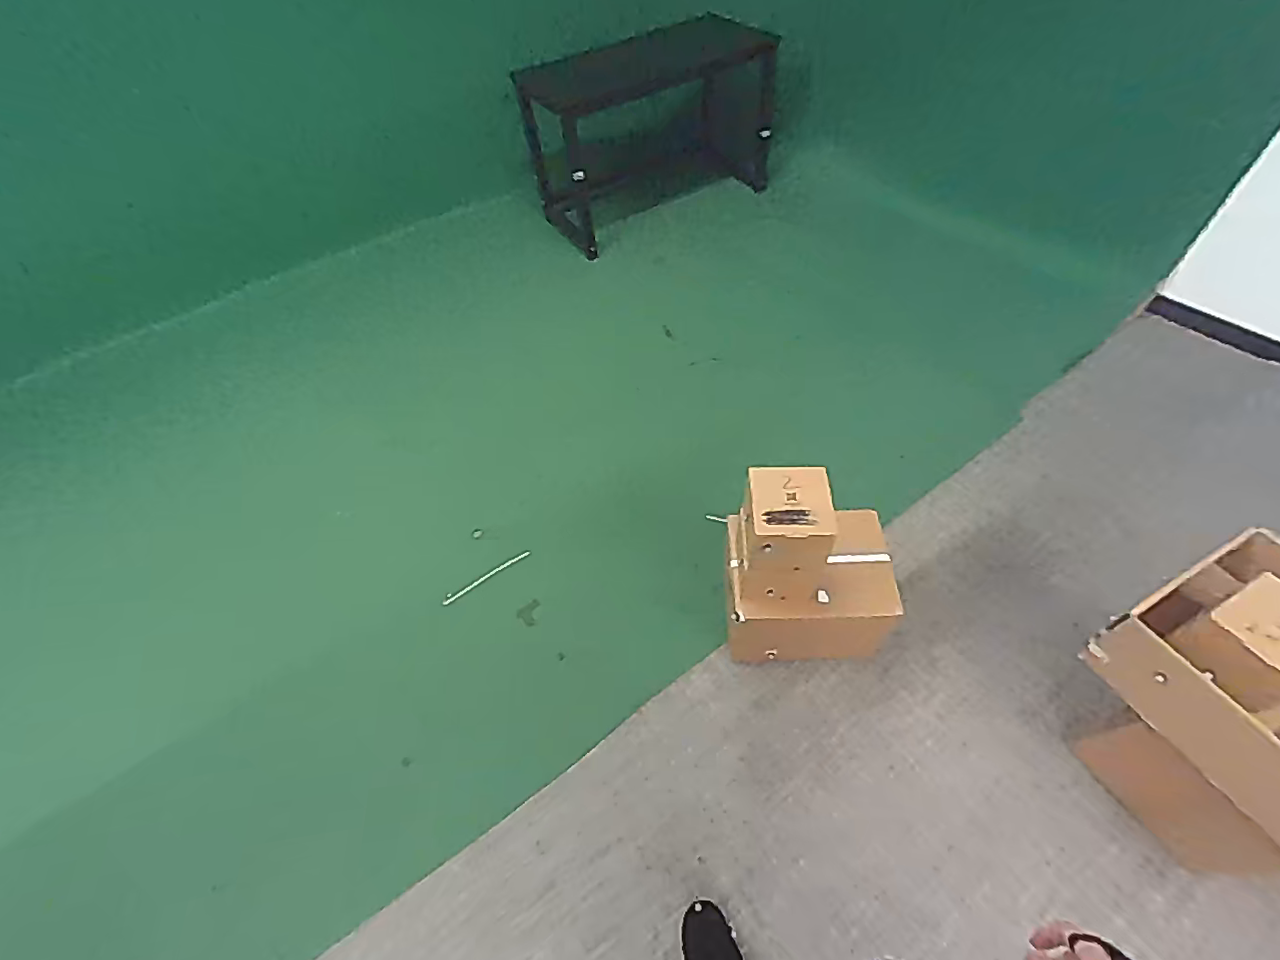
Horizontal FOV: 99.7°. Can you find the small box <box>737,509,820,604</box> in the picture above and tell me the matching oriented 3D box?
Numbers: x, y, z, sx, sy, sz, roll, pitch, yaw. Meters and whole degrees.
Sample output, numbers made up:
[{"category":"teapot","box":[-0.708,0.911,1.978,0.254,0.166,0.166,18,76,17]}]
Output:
[{"category":"small box","box":[0.331,0.188,1.328,0.168,0.176,0.179,0,55,4]}]
